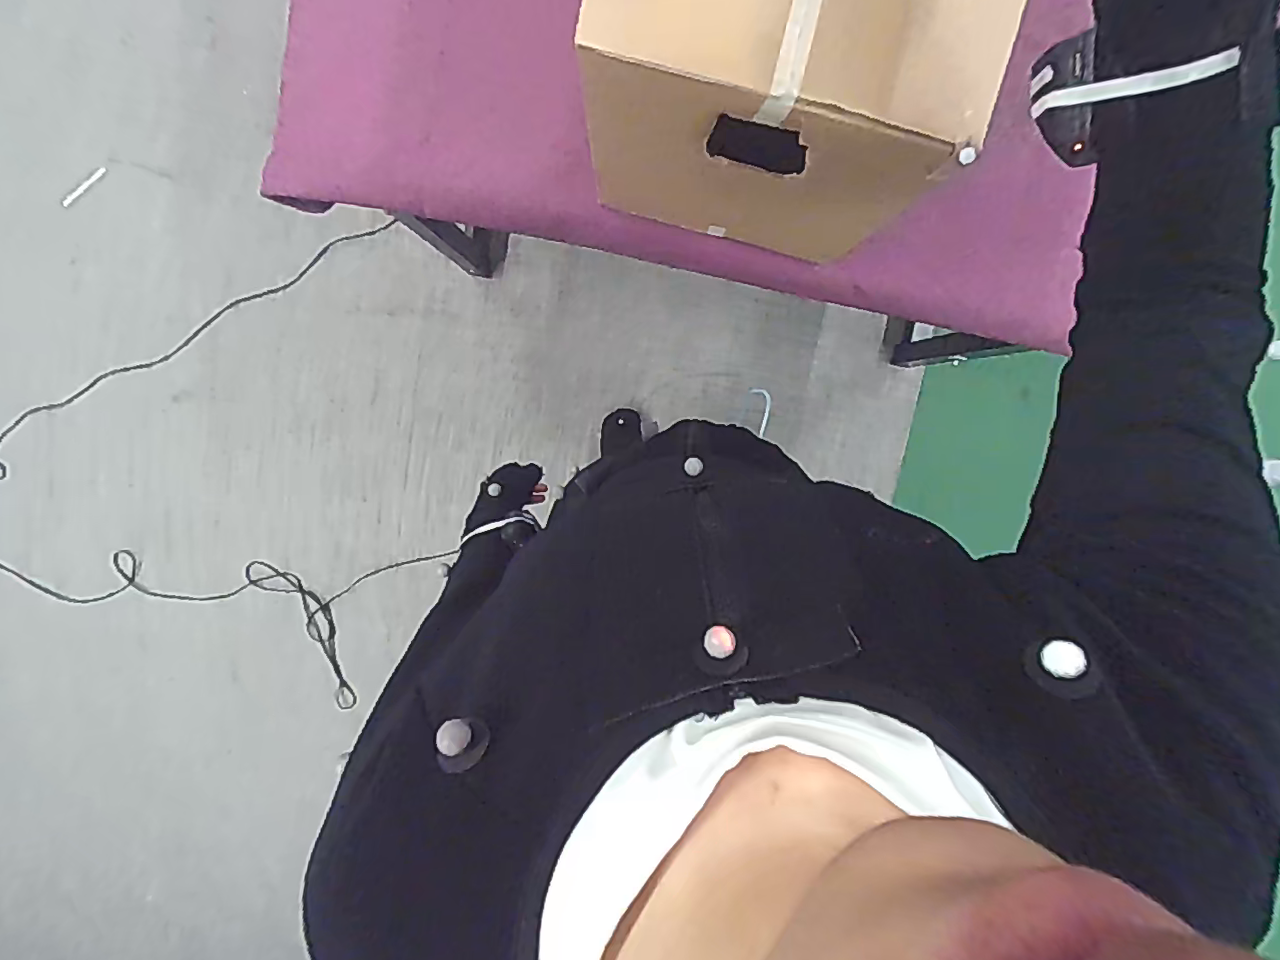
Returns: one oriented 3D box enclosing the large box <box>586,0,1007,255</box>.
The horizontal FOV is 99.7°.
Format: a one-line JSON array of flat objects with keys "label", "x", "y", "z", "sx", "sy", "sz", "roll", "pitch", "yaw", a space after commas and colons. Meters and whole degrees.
[{"label": "large box", "x": 0.145, "y": -0.499, "z": 0.538, "sx": 0.320, "sy": 0.320, "sz": 0.408, "roll": 13, "pitch": 98, "yaw": -3}]
